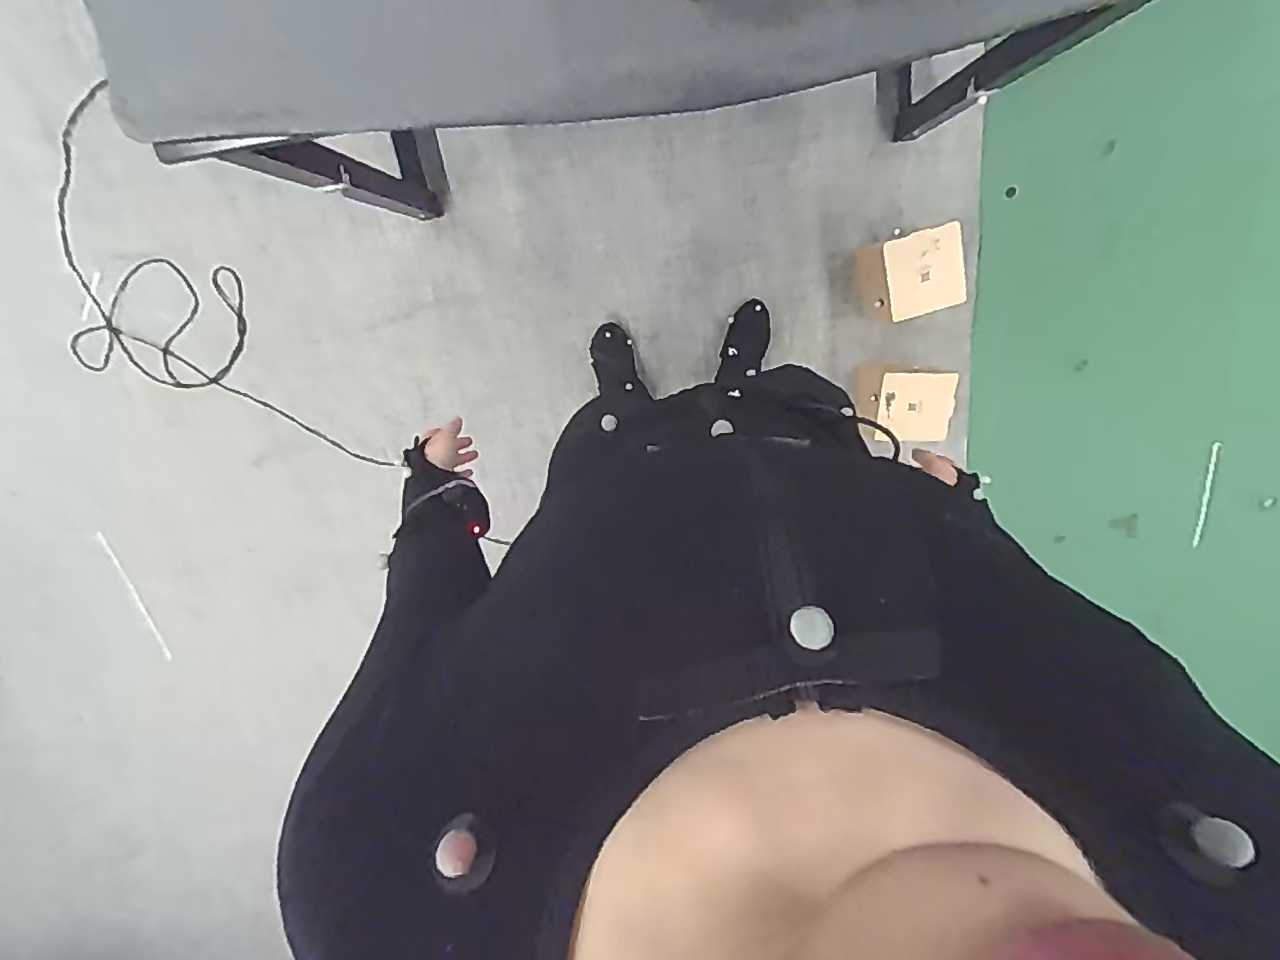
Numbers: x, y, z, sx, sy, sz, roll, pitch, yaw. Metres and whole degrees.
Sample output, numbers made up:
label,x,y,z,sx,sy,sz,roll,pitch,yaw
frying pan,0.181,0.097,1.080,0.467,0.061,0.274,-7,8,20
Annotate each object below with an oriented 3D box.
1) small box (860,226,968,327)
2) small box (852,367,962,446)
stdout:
label,x,y,z,sx,sy,sz,roll,pitch,yaw
small box,0.627,-0.467,1.250,0.168,0.176,0.179,-15,108,6
small box,0.655,-0.188,1.346,0.179,0.176,0.168,1,110,1
